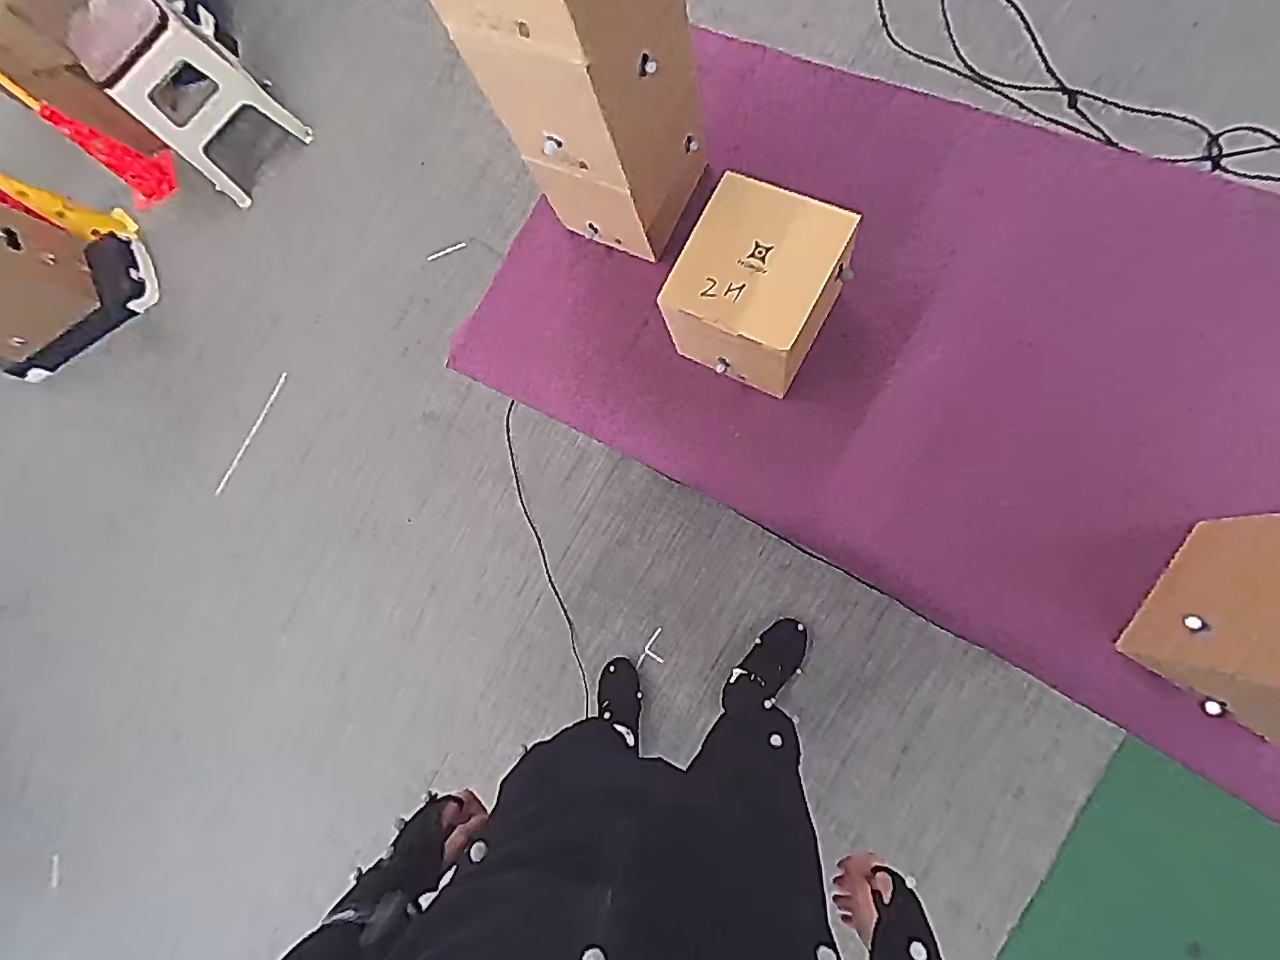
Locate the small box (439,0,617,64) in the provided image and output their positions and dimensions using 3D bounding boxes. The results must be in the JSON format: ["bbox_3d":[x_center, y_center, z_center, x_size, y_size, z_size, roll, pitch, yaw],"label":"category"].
[{"bbox_3d":[-0.098,-0.491,0.438,0.168,0.176,0.179,26,88,16],"label":"small box"}]

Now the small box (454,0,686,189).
[{"bbox_3d":[-0.060,-0.468,0.594,0.168,0.176,0.179,27,89,16],"label":"small box"}]

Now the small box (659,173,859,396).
[{"bbox_3d":[0.146,-0.233,0.681,0.168,0.176,0.179,29,89,16],"label":"small box"}]

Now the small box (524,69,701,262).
[{"bbox_3d":[-0.025,-0.444,0.752,0.168,0.176,0.179,27,89,16],"label":"small box"}]
